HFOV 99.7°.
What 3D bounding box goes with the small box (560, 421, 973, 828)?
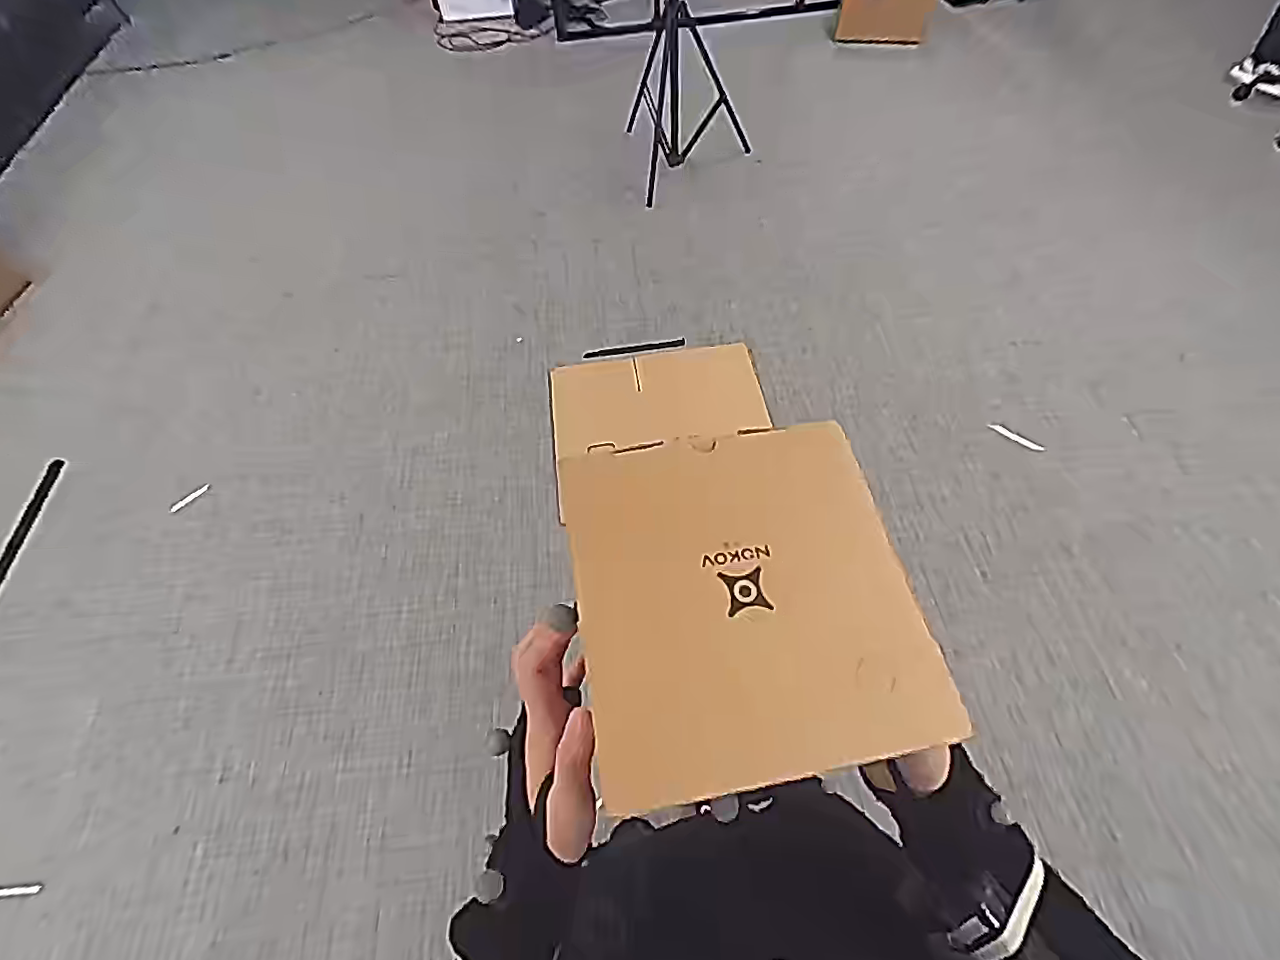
[{"bbox_3d":[0.049,0.091,0.334,0.168,0.176,0.179,-9,61,-7],"label":"small box"}]
